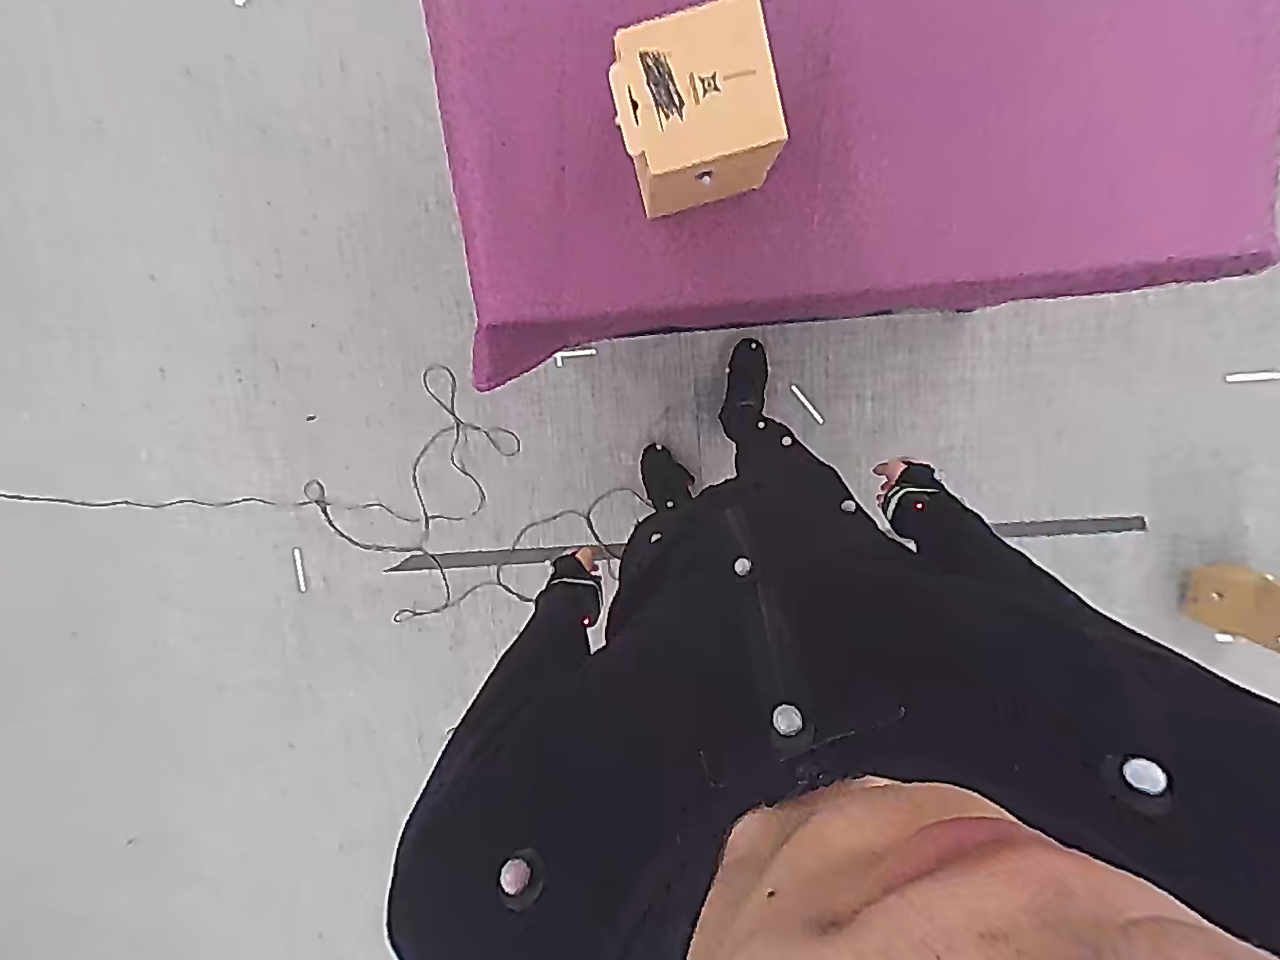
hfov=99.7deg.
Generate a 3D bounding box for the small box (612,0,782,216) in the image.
[{"bbox_3d":[0.070,-0.478,0.723,0.179,0.176,0.168,-15,99,2],"label":"small box"}]

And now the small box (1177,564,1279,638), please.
[{"bbox_3d":[1.745,0.351,1.586,0.179,0.176,0.168,0,100,0],"label":"small box"}]
